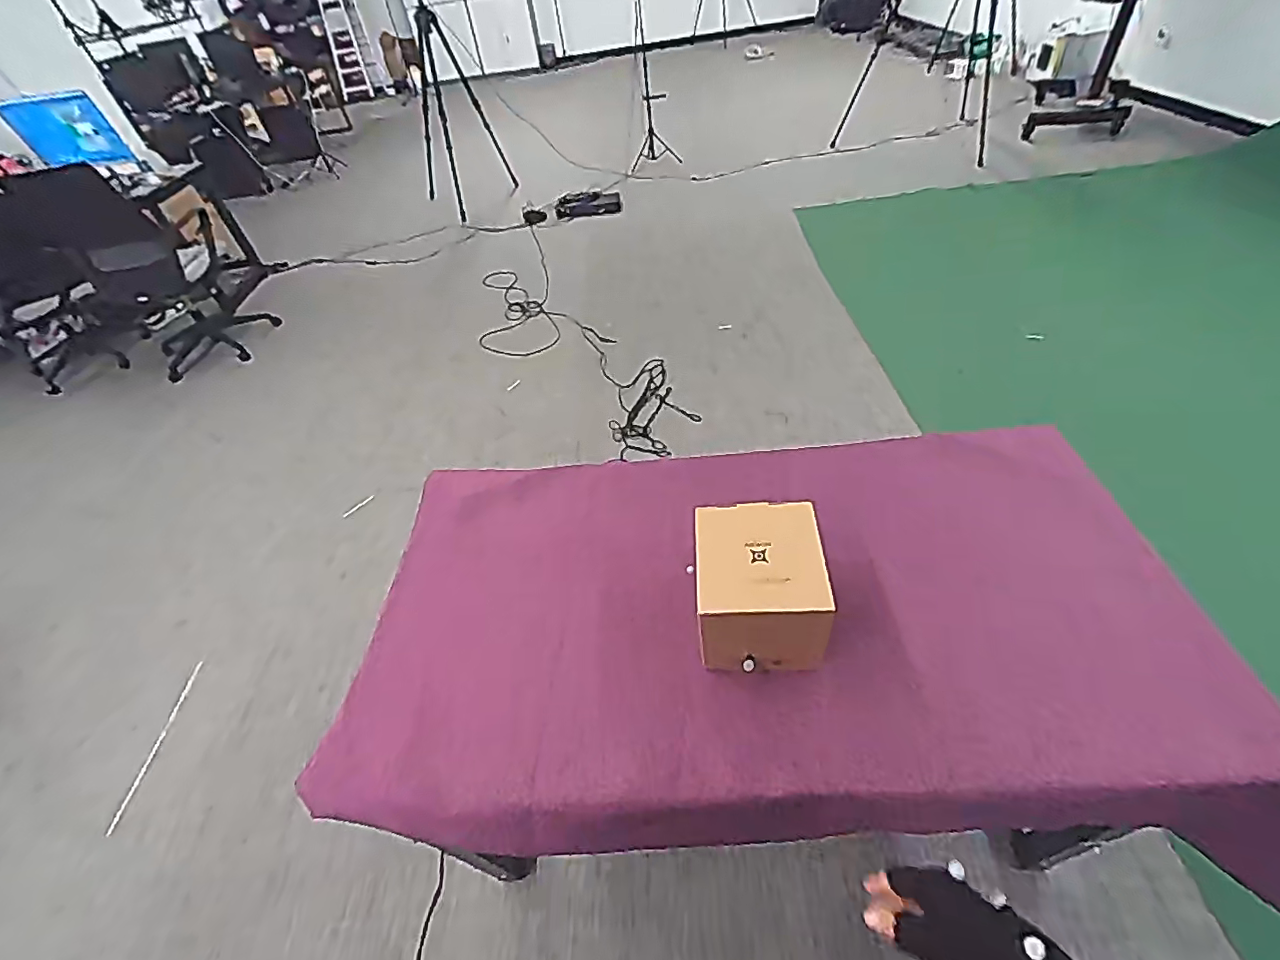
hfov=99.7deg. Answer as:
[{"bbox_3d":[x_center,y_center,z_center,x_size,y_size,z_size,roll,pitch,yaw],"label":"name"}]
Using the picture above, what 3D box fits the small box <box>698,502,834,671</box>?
[{"bbox_3d":[0.168,0.152,0.772,0.168,0.176,0.179,-3,46,8],"label":"small box"}]
